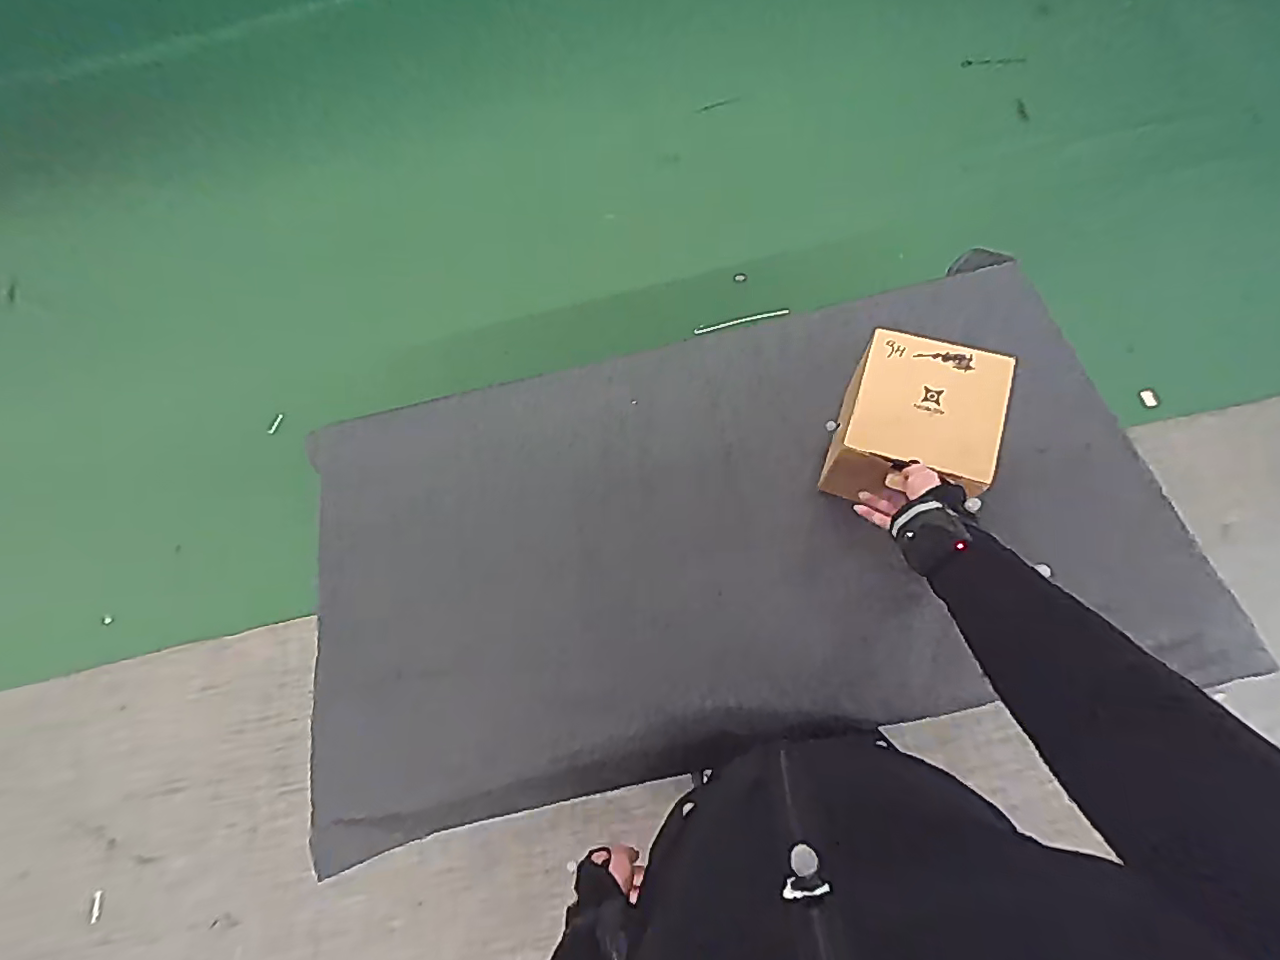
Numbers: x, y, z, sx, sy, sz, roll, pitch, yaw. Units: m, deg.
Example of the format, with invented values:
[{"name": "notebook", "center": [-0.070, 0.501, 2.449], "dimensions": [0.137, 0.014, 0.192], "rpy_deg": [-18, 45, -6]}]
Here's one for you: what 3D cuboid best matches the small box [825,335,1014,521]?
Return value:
[{"name": "small box", "center": [0.361, -0.061, 0.729], "dimensions": [0.168, 0.176, 0.179], "rpy_deg": [18, 75, 13]}]
